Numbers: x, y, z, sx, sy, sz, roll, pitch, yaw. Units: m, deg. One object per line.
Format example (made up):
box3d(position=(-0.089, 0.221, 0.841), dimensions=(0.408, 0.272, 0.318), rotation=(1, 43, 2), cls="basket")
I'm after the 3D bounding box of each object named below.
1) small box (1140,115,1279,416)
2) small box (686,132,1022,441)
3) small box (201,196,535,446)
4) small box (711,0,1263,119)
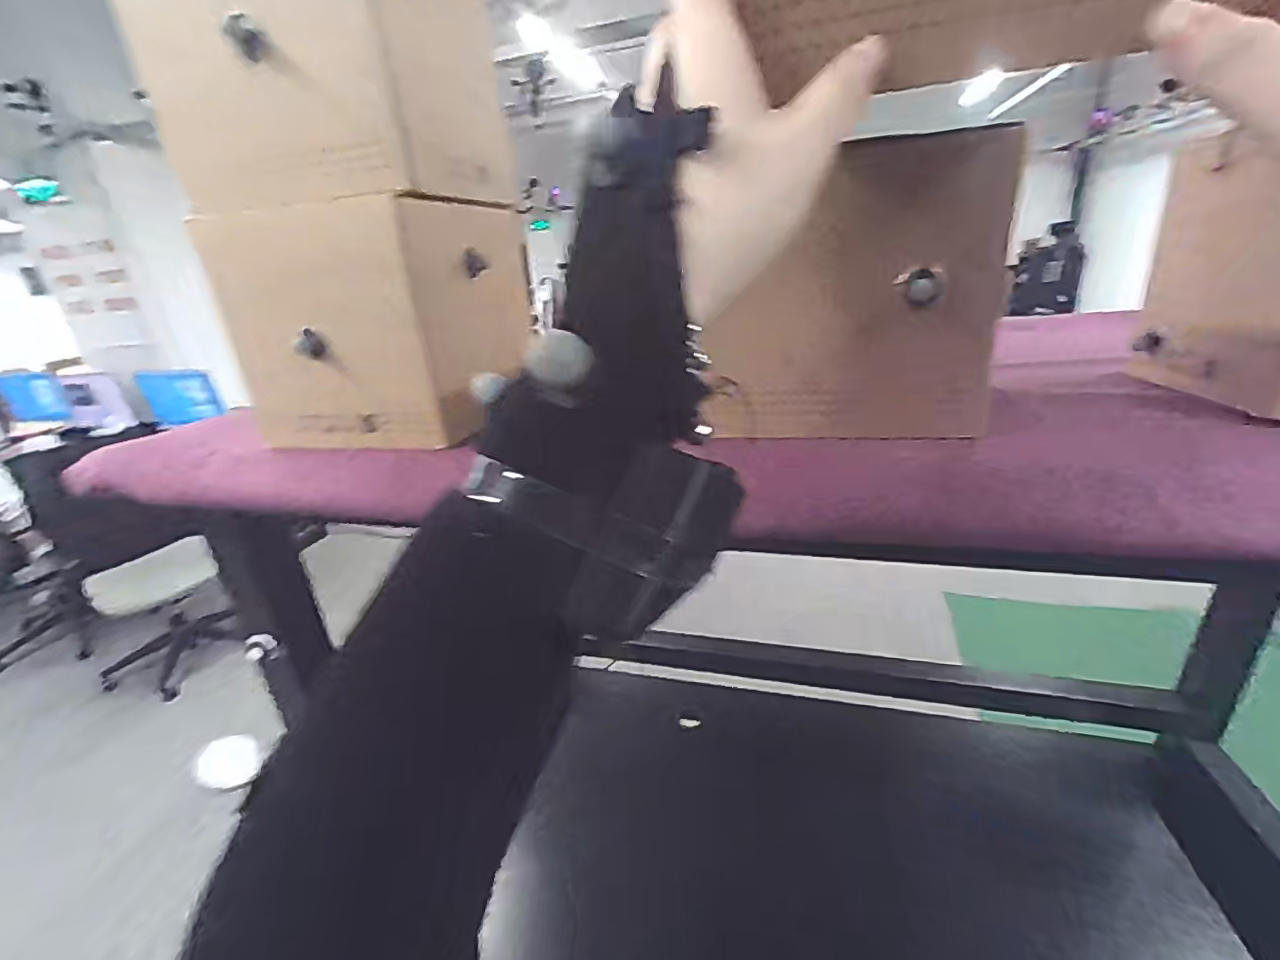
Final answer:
box3d(position=(0.452, -0.133, 0.327), dimensions=(0.179, 0.176, 0.168), rotation=(2, 20, 18), cls="small box")
box3d(position=(0.136, -0.130, 0.394), dimensions=(0.179, 0.176, 0.168), rotation=(0, 21, 15), cls="small box")
box3d(position=(-0.201, -0.132, 0.458), dimensions=(0.168, 0.176, 0.179), rotation=(2, 23, 14), cls="small box")
box3d(position=(0.114, -0.247, 0.187), dimensions=(0.179, 0.176, 0.168), rotation=(1, 47, 14), cls="small box")
